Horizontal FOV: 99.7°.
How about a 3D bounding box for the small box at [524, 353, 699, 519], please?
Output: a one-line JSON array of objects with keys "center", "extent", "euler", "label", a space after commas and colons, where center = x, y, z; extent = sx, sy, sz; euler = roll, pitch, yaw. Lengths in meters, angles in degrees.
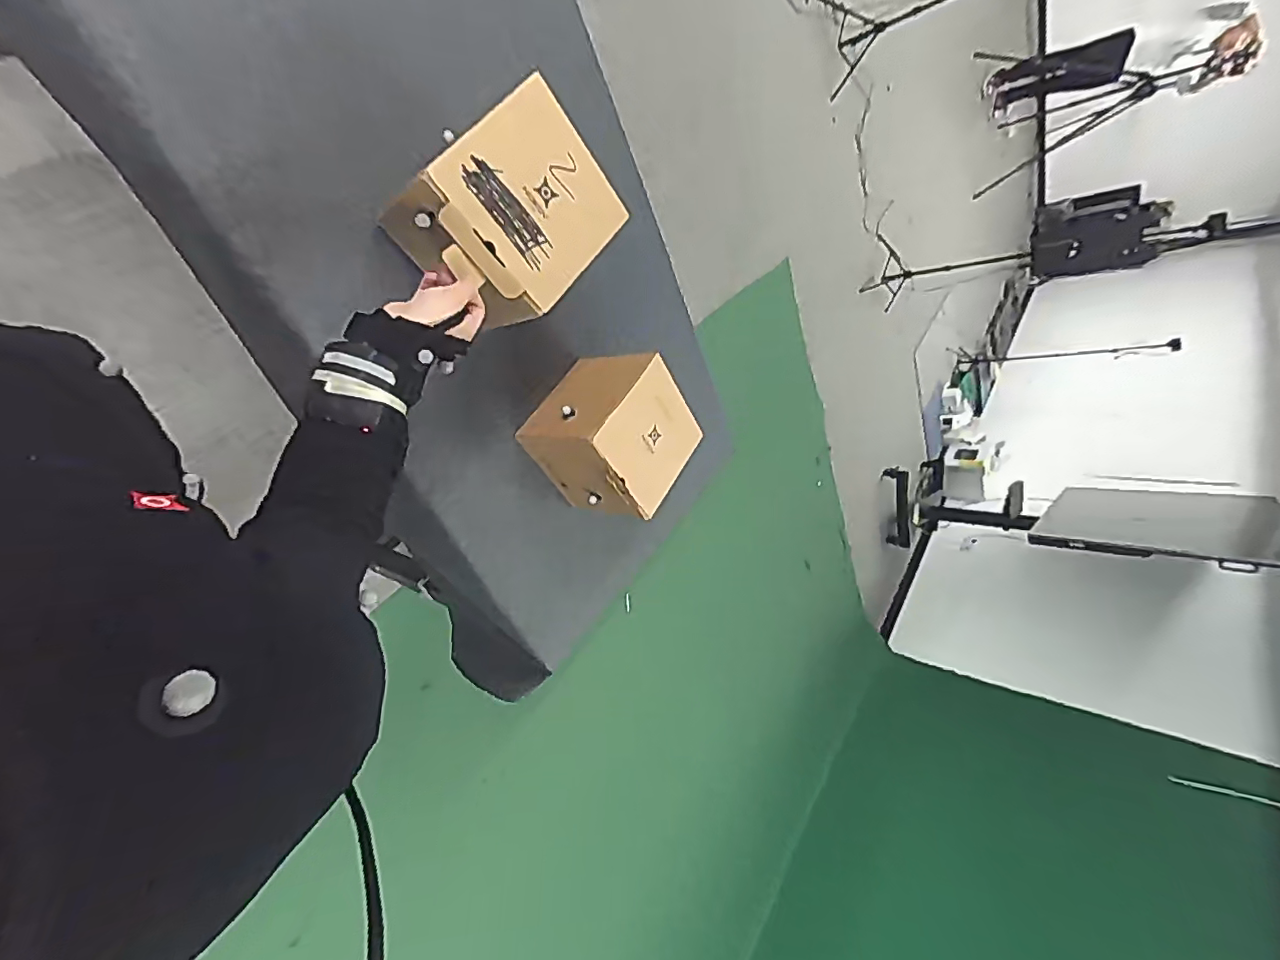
[{"center": [-0.046, -0.067, 0.809], "extent": [0.179, 0.176, 0.168], "euler": [-57, 133, -27], "label": "small box"}]
